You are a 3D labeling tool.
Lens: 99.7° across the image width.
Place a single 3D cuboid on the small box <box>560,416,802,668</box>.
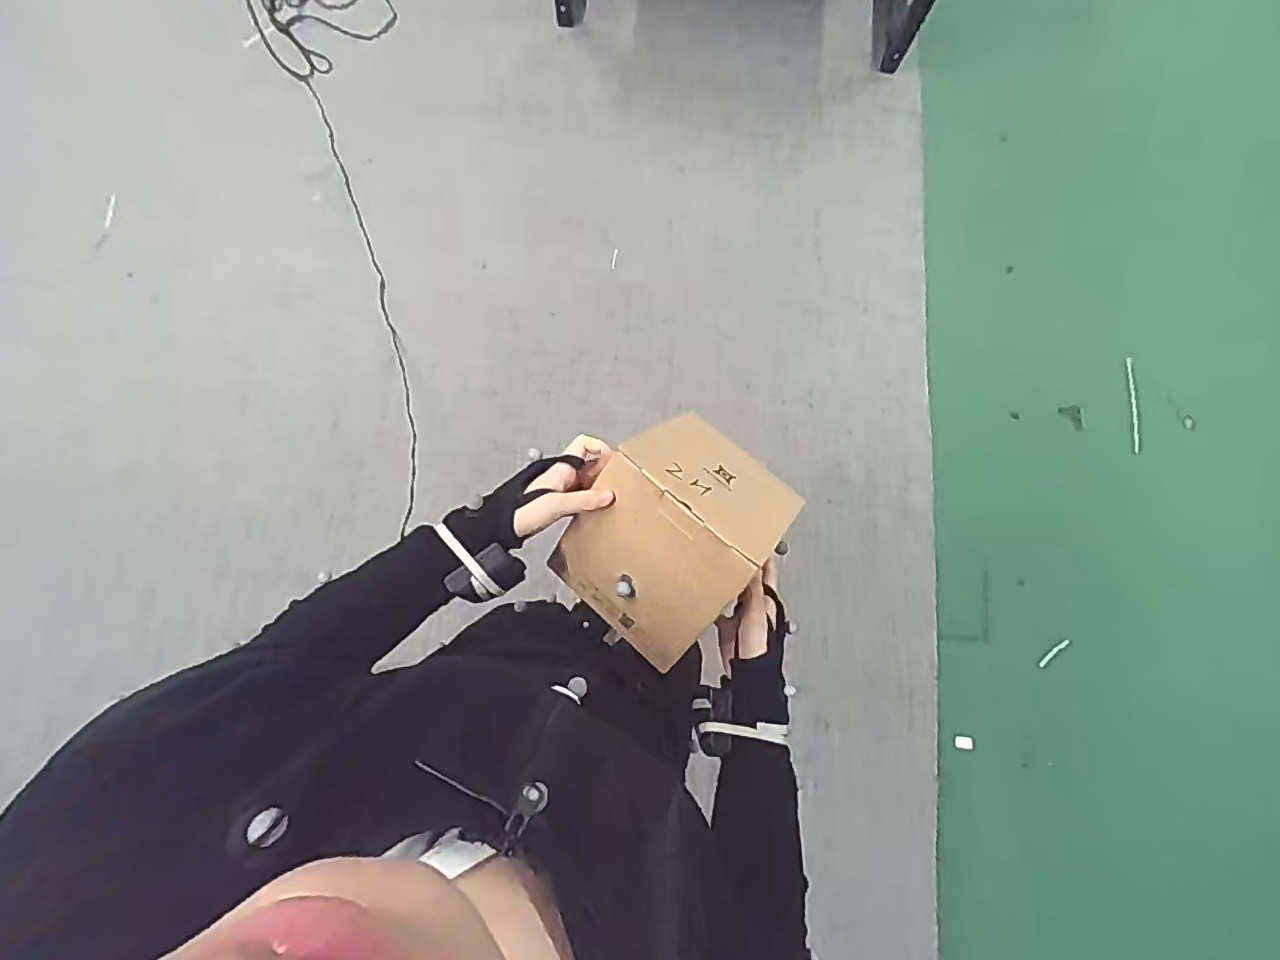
[{"bbox_3d":[0.042,0.061,0.584,0.168,0.179,0.176,40,123,11],"label":"small box"}]
